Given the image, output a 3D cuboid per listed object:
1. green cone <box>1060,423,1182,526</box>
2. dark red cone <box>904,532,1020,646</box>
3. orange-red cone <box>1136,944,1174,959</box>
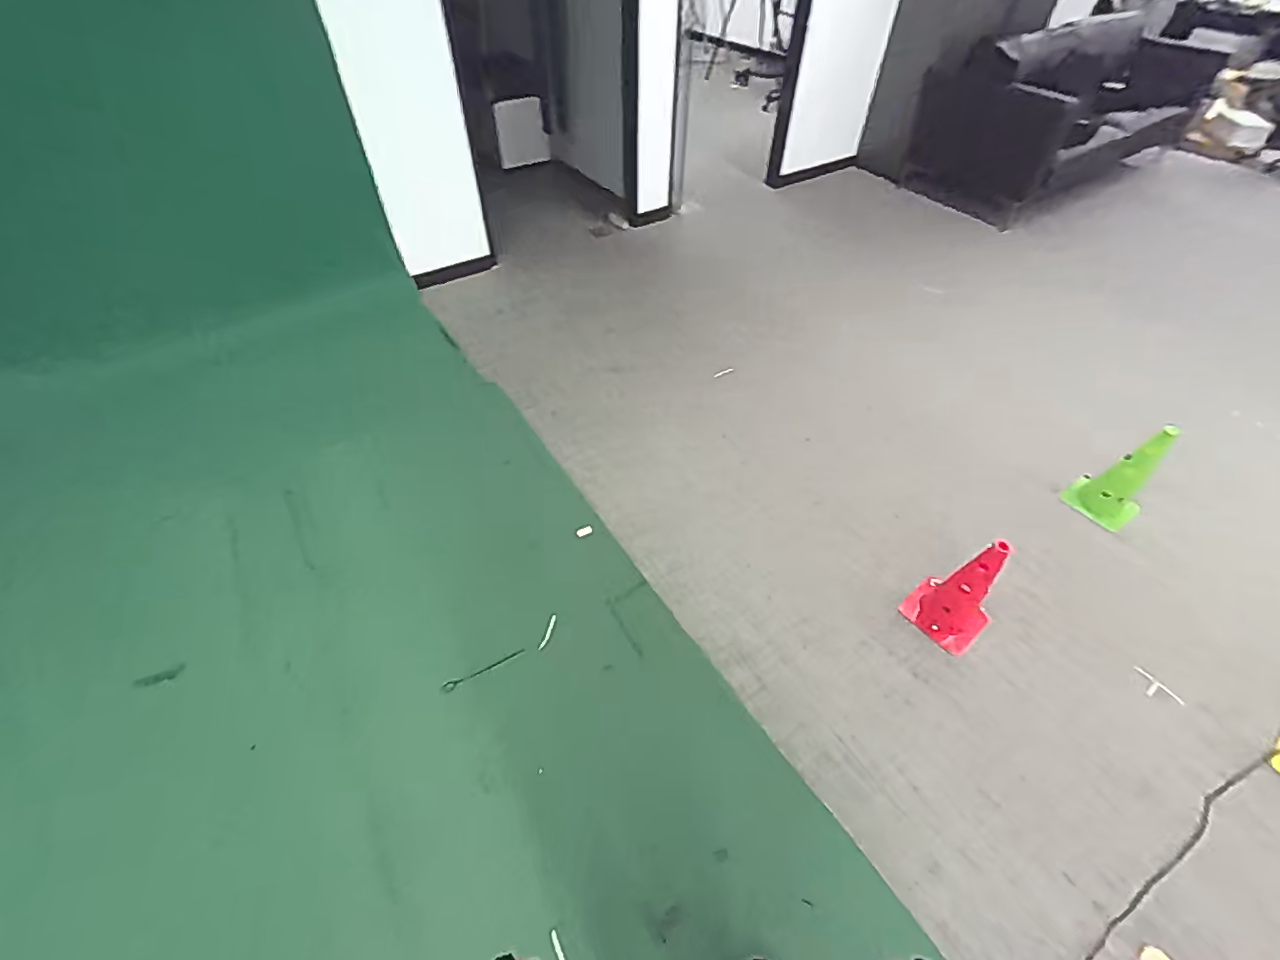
[{"bbox_3d":[1.635,-0.048,1.796,0.200,0.368,0.202,-28,56,-23],"label":"green cone"},{"bbox_3d":[0.915,0.266,1.479,0.201,0.394,0.202,-32,56,-24],"label":"dark red cone"},{"bbox_3d":[1.044,0.943,0.912,0.199,0.360,0.198,-25,54,-22],"label":"orange-red cone"}]
